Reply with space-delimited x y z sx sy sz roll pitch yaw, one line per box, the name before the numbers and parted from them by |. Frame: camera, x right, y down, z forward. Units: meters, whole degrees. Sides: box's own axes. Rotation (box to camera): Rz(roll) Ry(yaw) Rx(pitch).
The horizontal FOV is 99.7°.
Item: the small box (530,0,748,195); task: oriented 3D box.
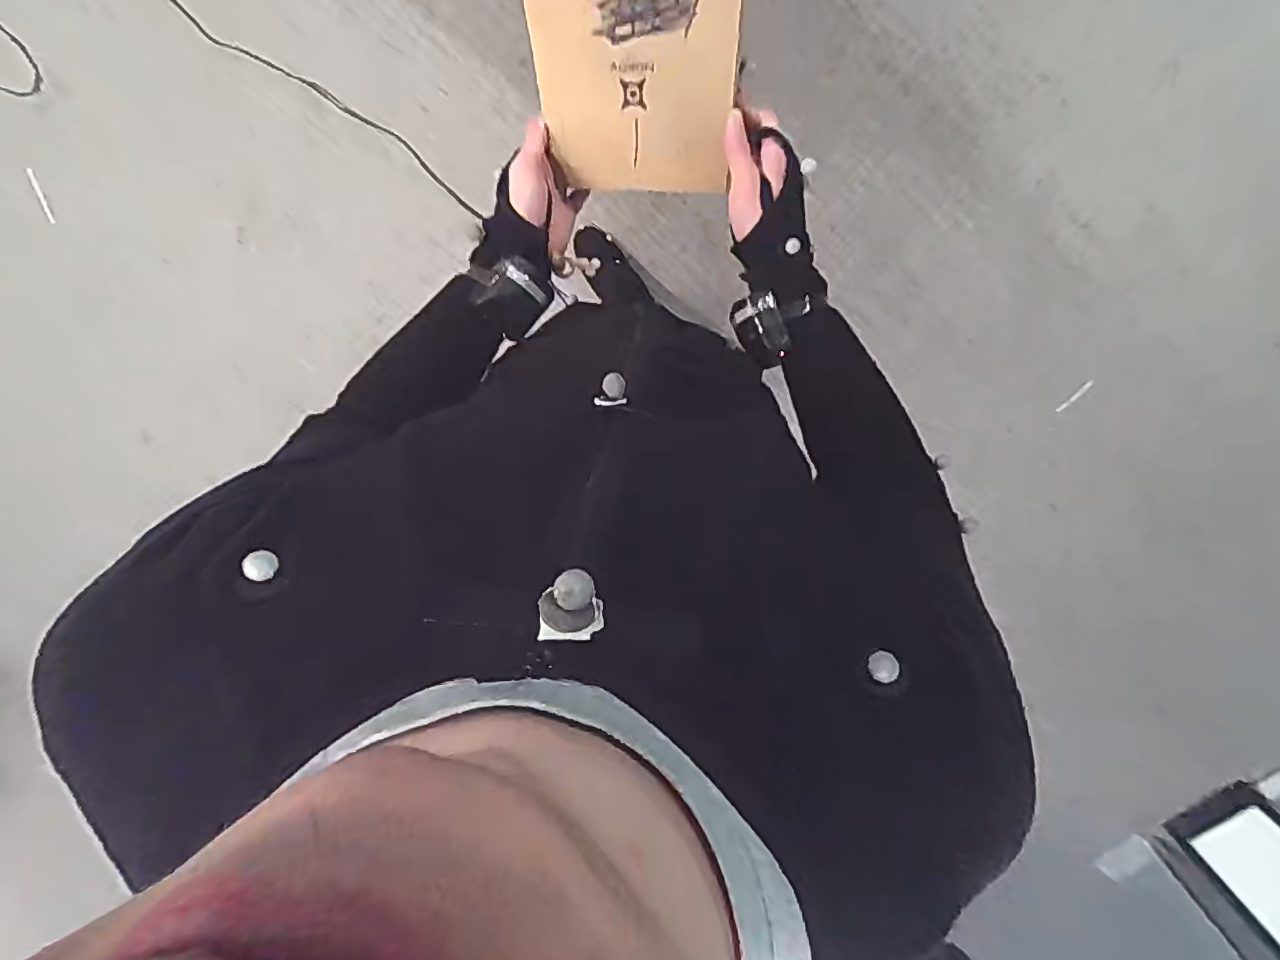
small box | 0.009 -0.391 0.497 0.168 0.176 0.179 6 142 8
